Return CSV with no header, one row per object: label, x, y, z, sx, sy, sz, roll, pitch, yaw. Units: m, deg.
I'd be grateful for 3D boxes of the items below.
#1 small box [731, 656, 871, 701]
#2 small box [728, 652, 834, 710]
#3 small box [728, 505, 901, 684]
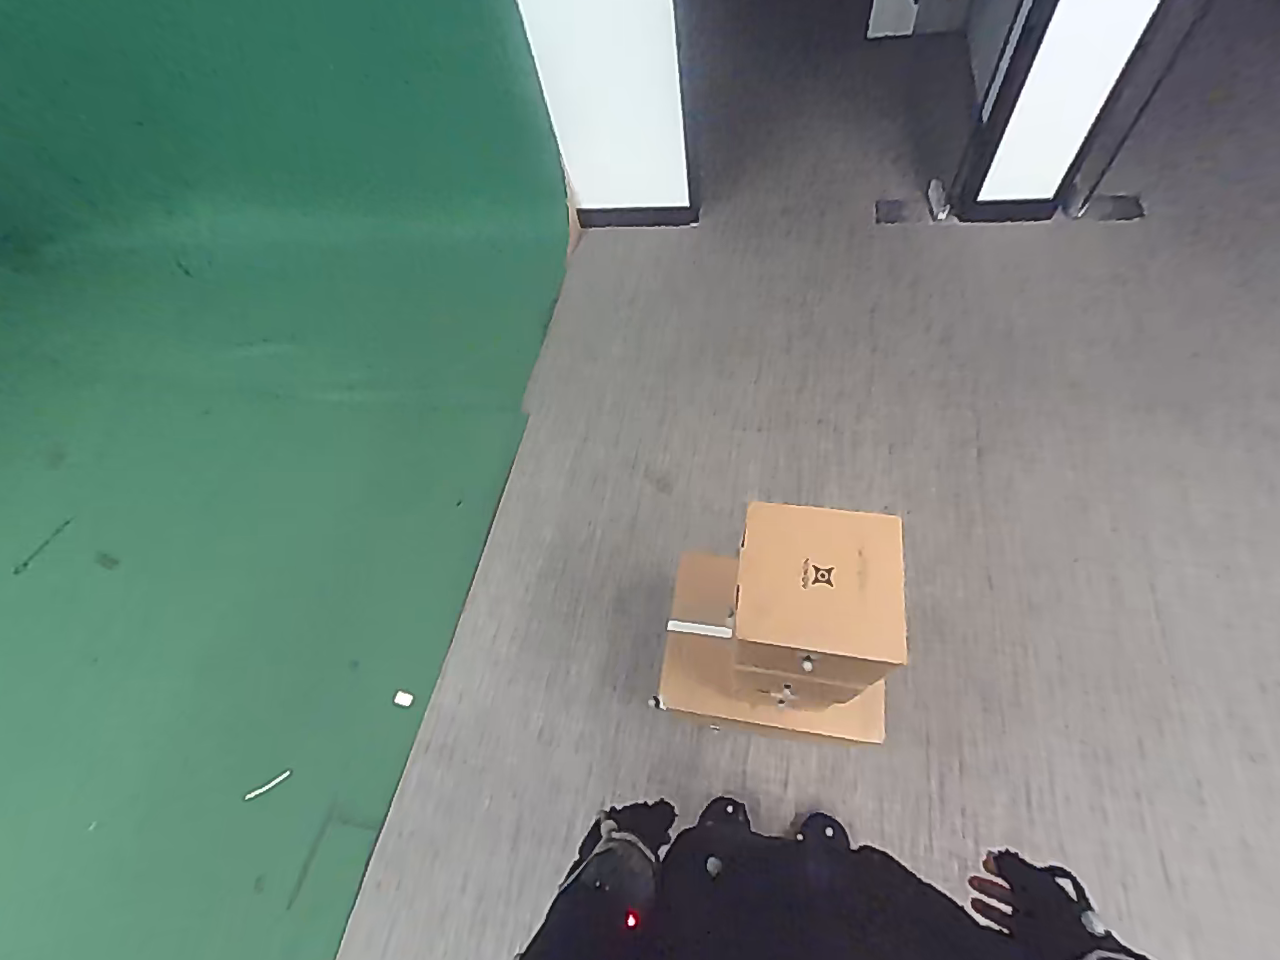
small box,0.229,0.228,0.804,0.179,0.176,0.168,3,63,11
small box,0.247,0.298,0.952,0.168,0.176,0.179,3,63,12
small box,0.206,0.146,0.666,0.179,0.176,0.168,6,64,12
